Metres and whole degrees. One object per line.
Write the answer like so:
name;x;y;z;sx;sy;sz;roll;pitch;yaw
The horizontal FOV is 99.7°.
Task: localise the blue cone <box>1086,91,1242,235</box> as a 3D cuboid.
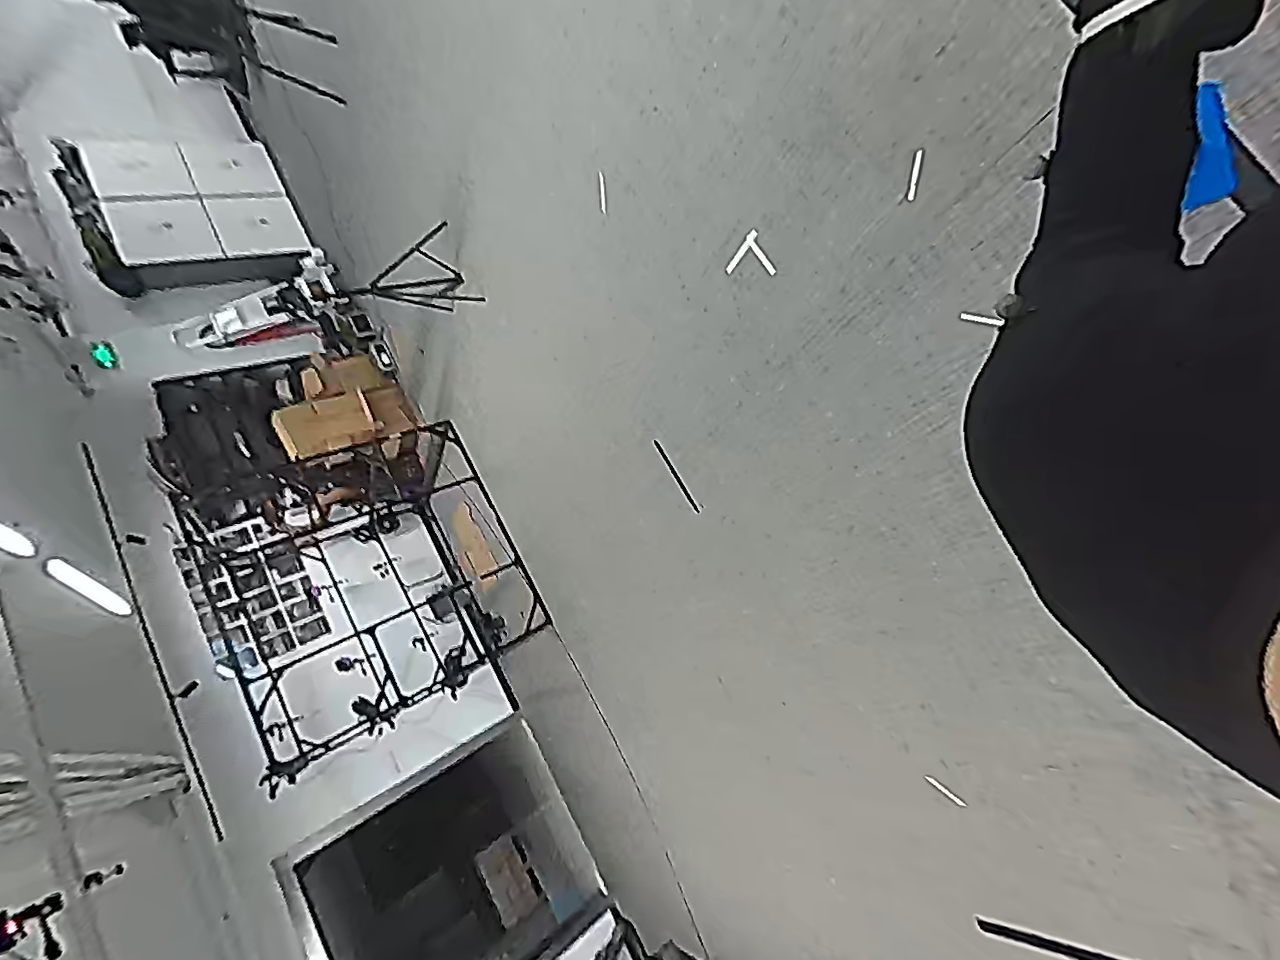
blue cone;0.848;-0.535;0.927;0.193;0.380;0.192;-6;104;57
